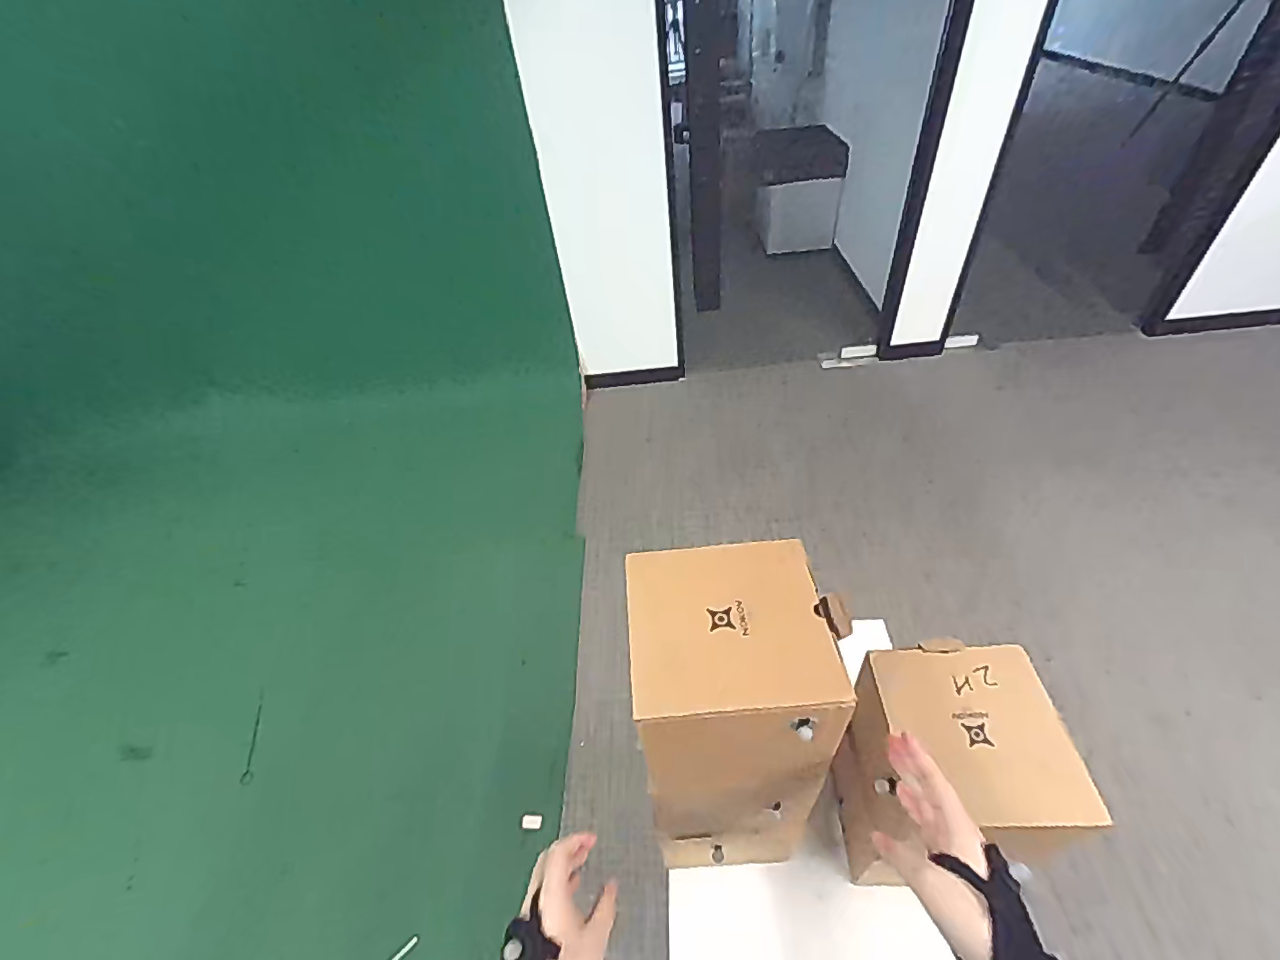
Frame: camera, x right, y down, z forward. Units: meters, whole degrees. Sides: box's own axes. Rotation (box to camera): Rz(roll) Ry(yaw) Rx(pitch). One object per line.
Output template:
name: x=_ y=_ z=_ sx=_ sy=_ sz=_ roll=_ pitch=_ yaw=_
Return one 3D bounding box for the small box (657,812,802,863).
small box: x=0.111 y=0.418 z=0.754 sx=0.179 sy=0.176 sz=0.168 roll=-5 pitch=45 yaw=1

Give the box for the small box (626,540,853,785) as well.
small box: x=0.083 y=0.181 z=0.531 sx=0.179 sy=0.176 sz=0.168 roll=-5 pitch=44 yaw=0

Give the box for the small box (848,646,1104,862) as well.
small box: x=0.342 y=0.305 z=0.598 sx=0.168 sy=0.176 sz=0.179 roll=-4 pitch=45 yaw=6

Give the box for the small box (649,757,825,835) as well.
small box: x=0.097 y=0.301 z=0.641 sx=0.179 sy=0.176 sz=0.168 roll=-6 pitch=43 yaw=1
